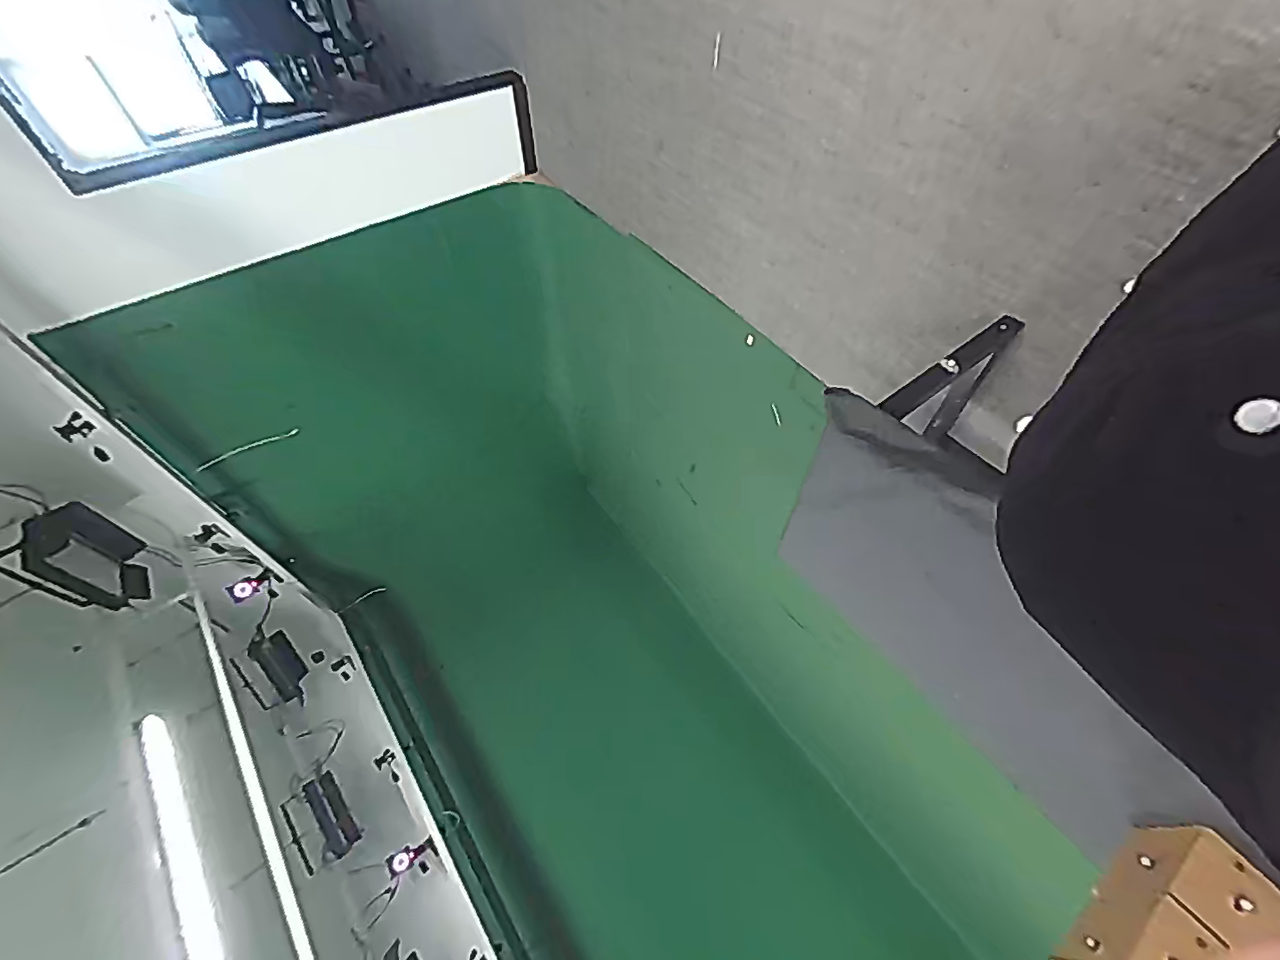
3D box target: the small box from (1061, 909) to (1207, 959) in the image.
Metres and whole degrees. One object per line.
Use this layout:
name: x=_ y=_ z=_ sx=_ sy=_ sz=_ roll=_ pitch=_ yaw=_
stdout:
small box: x=0.819 y=0.833 z=0.868 sx=0.168 sy=0.176 sz=0.179 roll=49 pitch=156 yaw=29

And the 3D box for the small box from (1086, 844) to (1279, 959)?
small box: x=0.951 y=0.767 z=0.939 sx=0.168 sy=0.176 sz=0.179 roll=49 pitch=155 yaw=27
